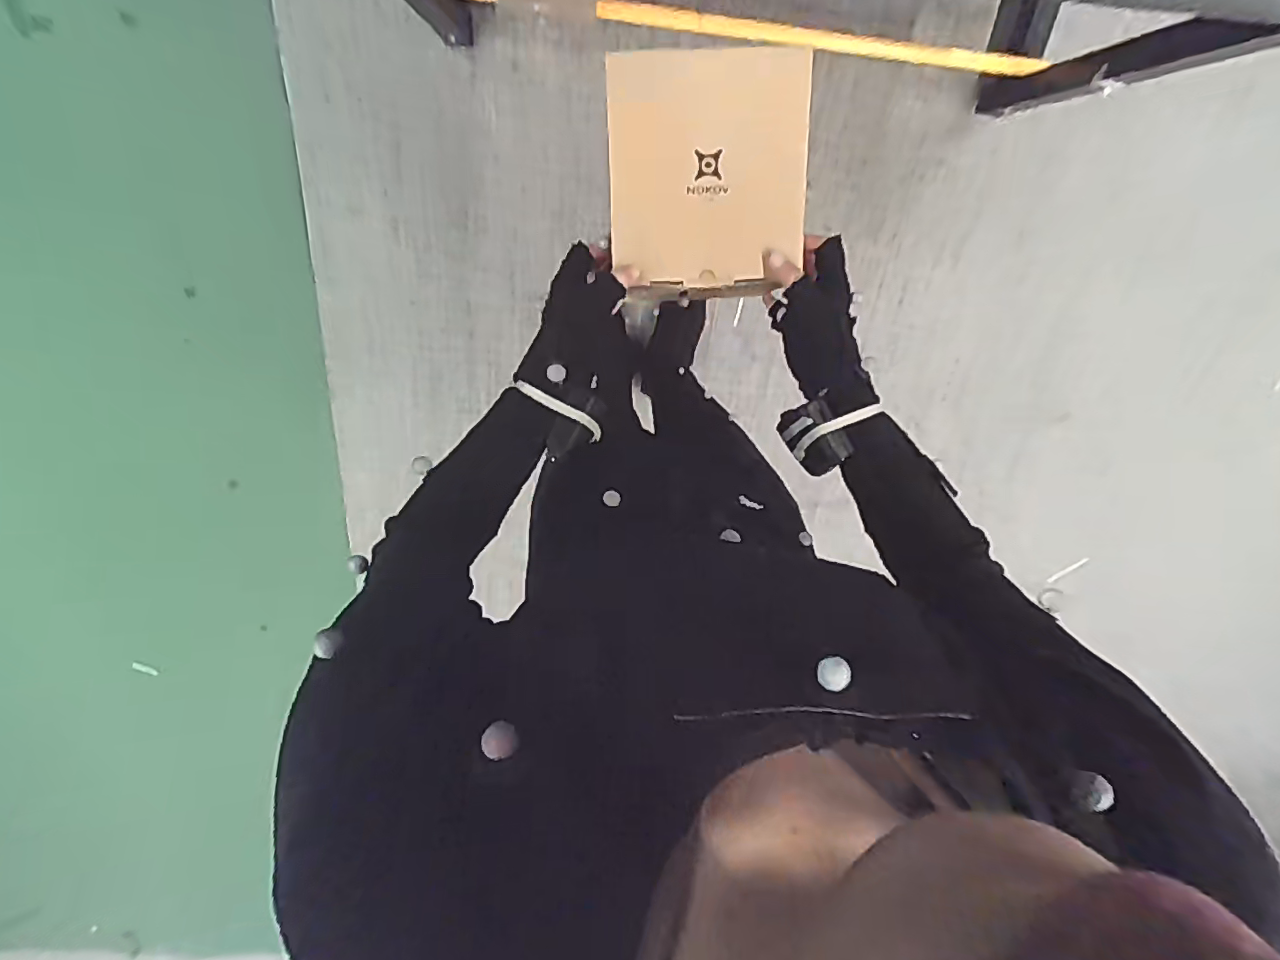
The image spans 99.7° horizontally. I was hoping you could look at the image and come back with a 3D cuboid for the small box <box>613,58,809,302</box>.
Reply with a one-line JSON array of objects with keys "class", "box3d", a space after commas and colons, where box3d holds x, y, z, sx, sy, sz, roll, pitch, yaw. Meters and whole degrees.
[{"class": "small box", "box3d": [0.060, -0.277, 0.539, 0.168, 0.176, 0.179, -2, 105, 2]}]
